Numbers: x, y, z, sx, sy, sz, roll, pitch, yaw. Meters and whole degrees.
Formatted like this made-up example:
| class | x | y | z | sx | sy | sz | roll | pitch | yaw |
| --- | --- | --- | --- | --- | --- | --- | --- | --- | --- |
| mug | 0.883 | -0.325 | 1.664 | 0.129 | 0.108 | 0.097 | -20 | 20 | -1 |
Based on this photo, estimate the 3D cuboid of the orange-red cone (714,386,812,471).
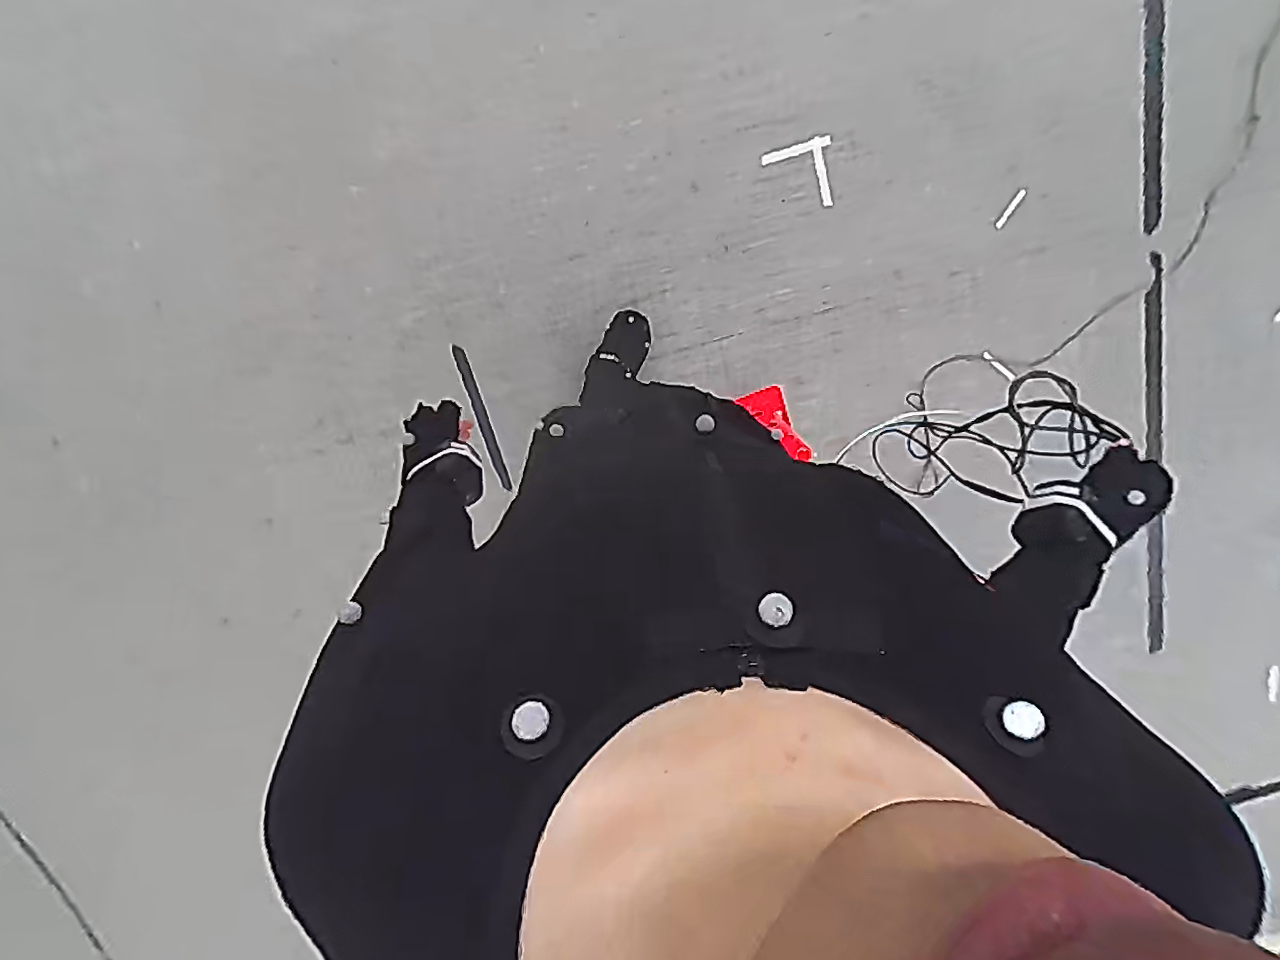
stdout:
| class | x | y | z | sx | sy | sz | roll | pitch | yaw |
| --- | --- | --- | --- | --- | --- | --- | --- | --- | --- |
| orange-red cone | 0.325 | -0.094 | 1.286 | 0.198 | 0.360 | 0.199 | -20 | 106 | 1 |
